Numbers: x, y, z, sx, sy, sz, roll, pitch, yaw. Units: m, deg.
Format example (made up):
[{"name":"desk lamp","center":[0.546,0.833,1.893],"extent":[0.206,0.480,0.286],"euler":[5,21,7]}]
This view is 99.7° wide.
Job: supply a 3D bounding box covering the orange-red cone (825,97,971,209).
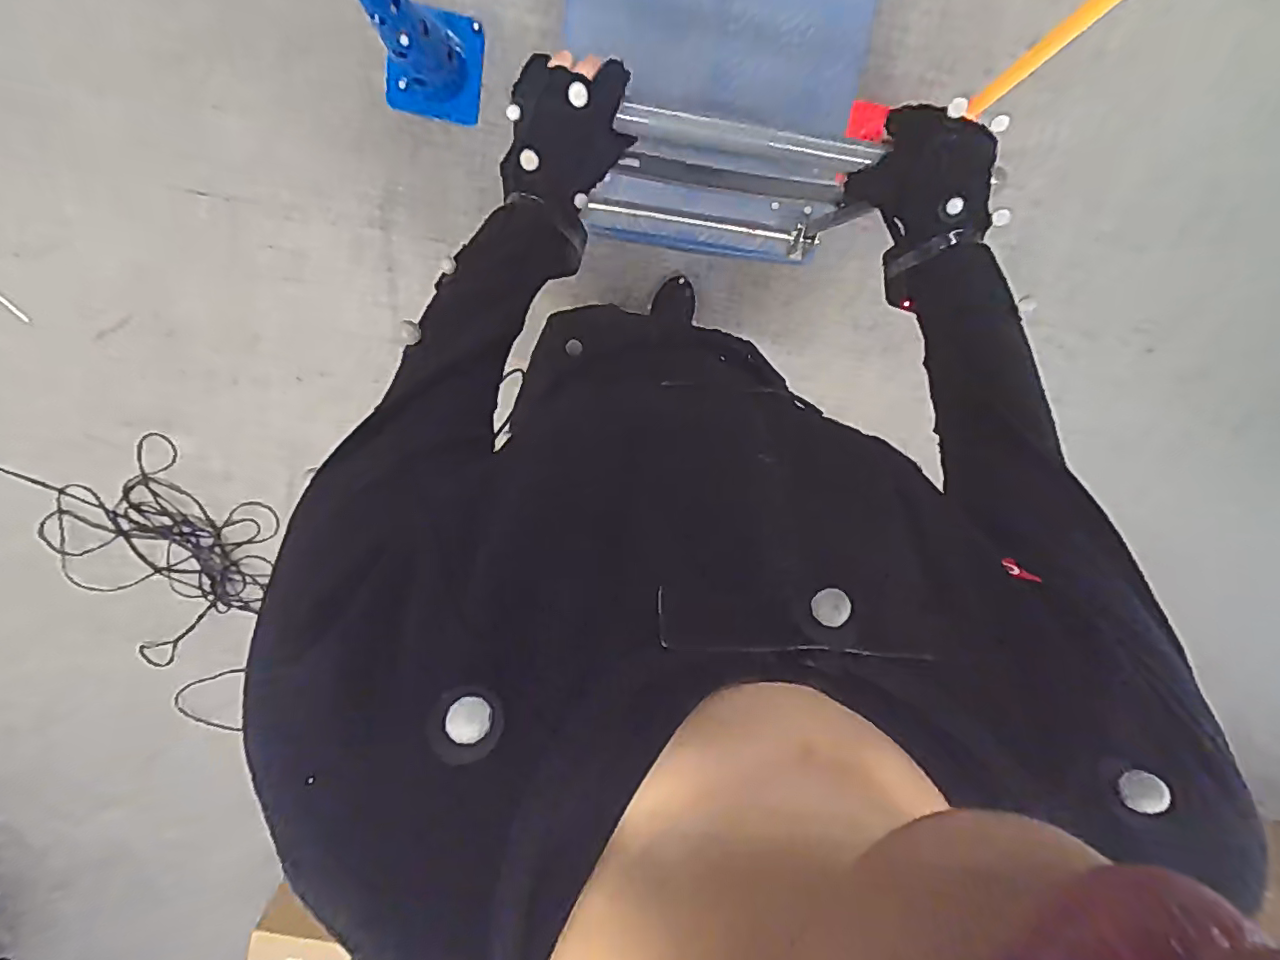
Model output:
[{"name":"orange-red cone","center":[0.550,-0.699,1.102],"extent":[0.199,0.360,0.198],"euler":[10,109,-4]}]
